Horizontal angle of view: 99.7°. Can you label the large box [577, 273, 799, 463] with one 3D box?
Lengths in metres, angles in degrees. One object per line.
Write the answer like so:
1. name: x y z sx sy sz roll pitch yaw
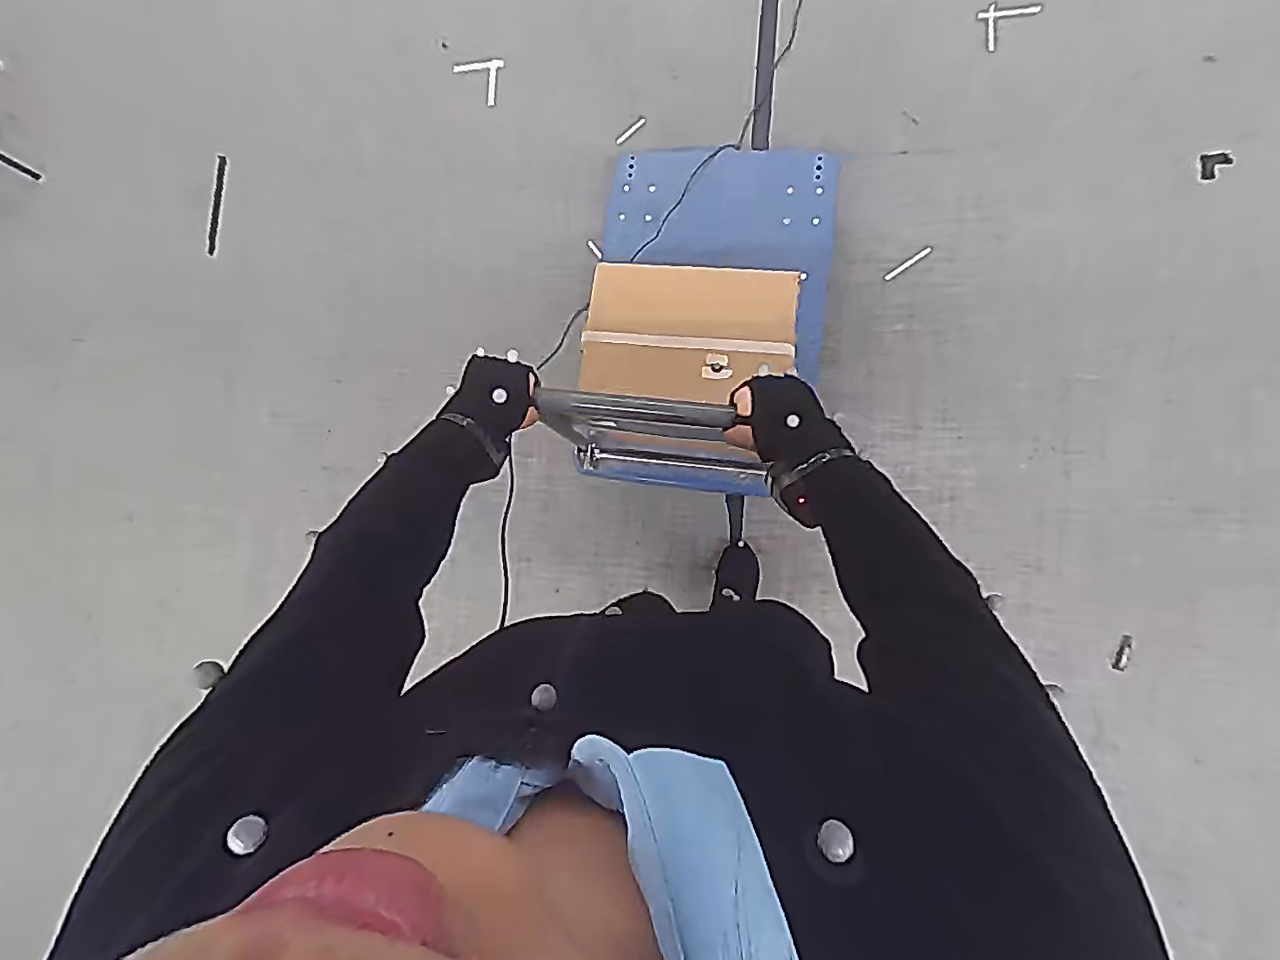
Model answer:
1. large box: 0.108 -0.227 1.183 0.408 0.320 0.320 7 85 9
